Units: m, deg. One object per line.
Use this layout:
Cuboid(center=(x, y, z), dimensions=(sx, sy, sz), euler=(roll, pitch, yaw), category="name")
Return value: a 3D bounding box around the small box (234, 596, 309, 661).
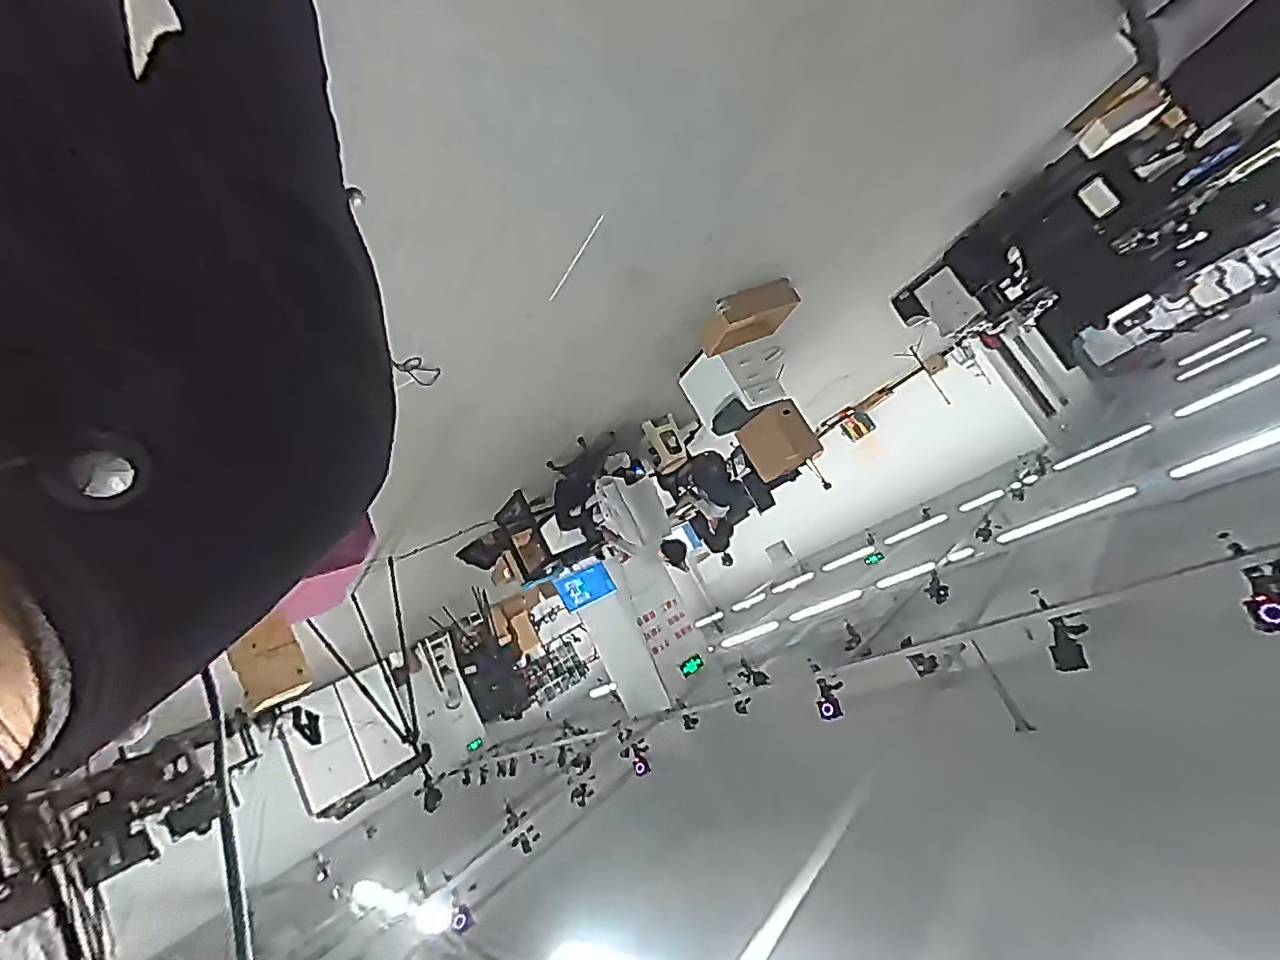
Cuboid(center=(-1.428, 0.569, 2.091), dimensions=(0.168, 0.176, 0.179), euler=(-36, 166, 33), category="small box")
